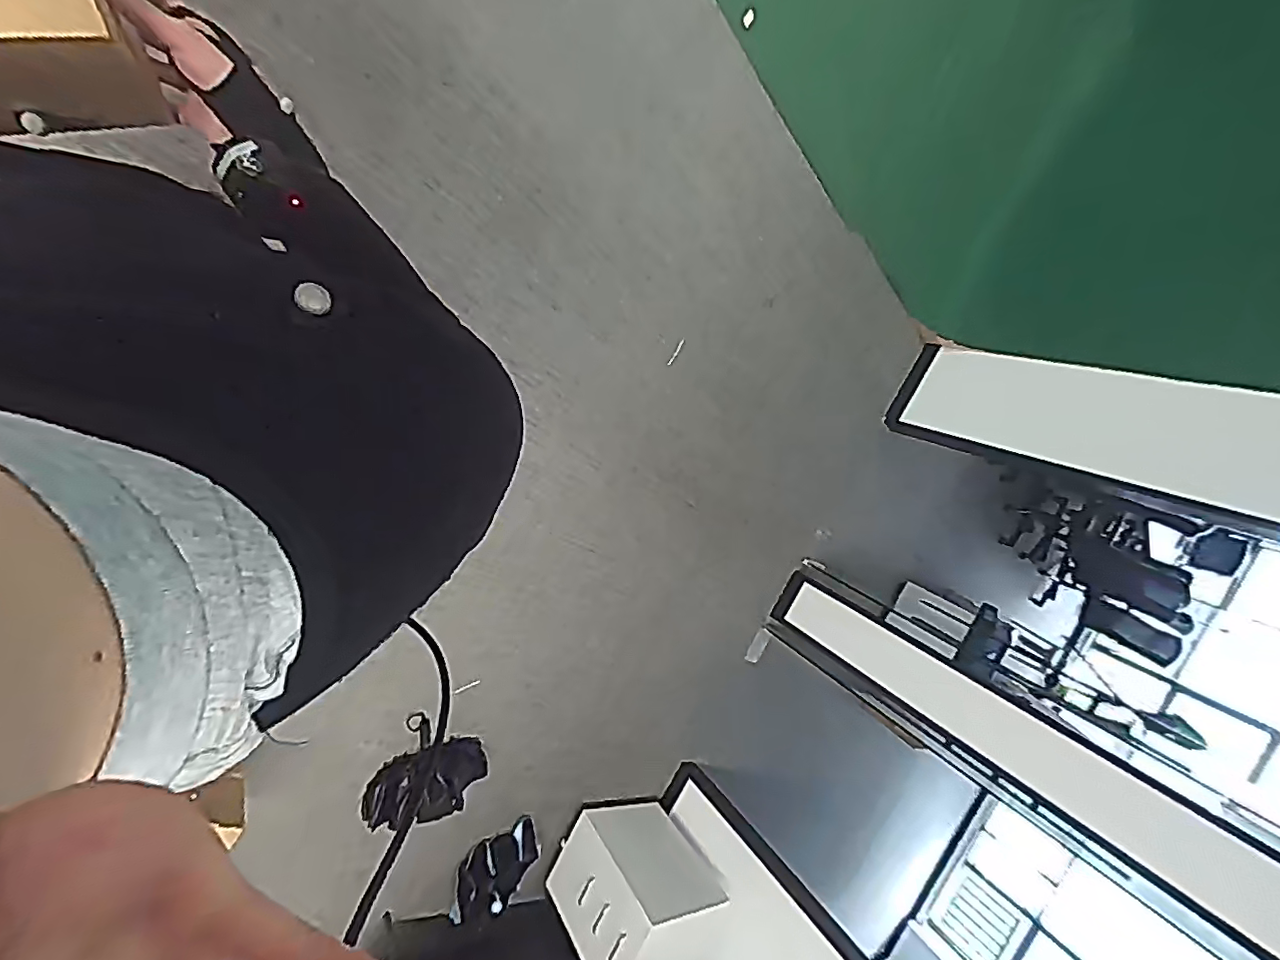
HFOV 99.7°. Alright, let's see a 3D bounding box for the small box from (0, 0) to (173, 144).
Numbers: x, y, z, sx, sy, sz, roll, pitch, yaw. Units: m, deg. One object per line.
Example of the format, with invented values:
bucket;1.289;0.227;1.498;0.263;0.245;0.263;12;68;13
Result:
small box;-0.481;-0.364;0.380;0.168;0.176;0.179;-21;111;-23
